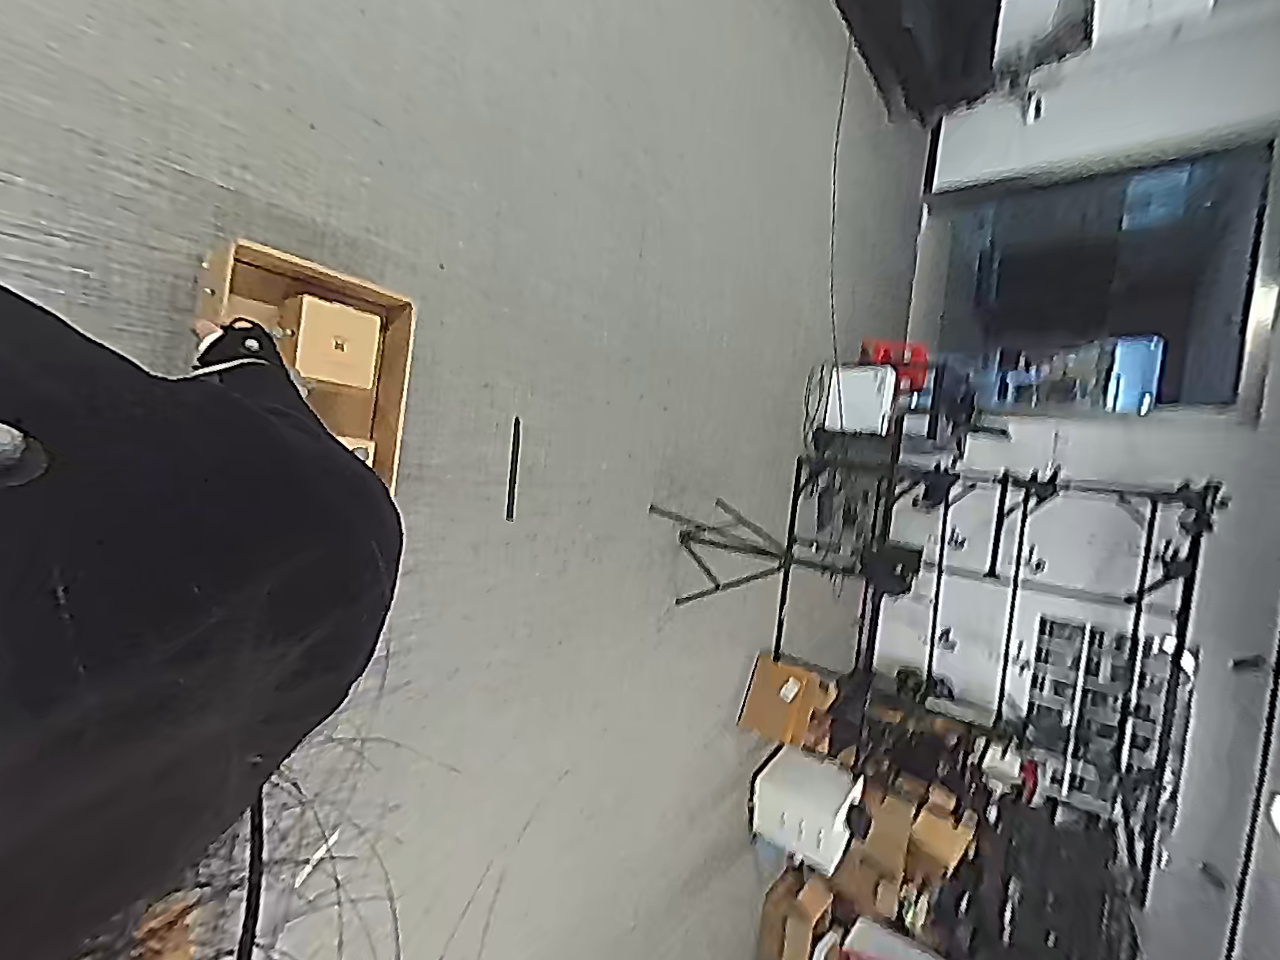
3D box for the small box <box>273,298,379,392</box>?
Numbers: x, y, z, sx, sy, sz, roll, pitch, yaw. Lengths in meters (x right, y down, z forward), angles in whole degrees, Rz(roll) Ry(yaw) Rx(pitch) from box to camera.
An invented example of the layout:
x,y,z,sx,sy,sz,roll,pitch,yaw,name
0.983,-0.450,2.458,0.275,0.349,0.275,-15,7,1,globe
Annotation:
x,y,z,sx,sy,sz,roll,pitch,yaw,name
-0.742,-0.311,1.274,0.168,0.176,0.179,6,93,-49,small box
